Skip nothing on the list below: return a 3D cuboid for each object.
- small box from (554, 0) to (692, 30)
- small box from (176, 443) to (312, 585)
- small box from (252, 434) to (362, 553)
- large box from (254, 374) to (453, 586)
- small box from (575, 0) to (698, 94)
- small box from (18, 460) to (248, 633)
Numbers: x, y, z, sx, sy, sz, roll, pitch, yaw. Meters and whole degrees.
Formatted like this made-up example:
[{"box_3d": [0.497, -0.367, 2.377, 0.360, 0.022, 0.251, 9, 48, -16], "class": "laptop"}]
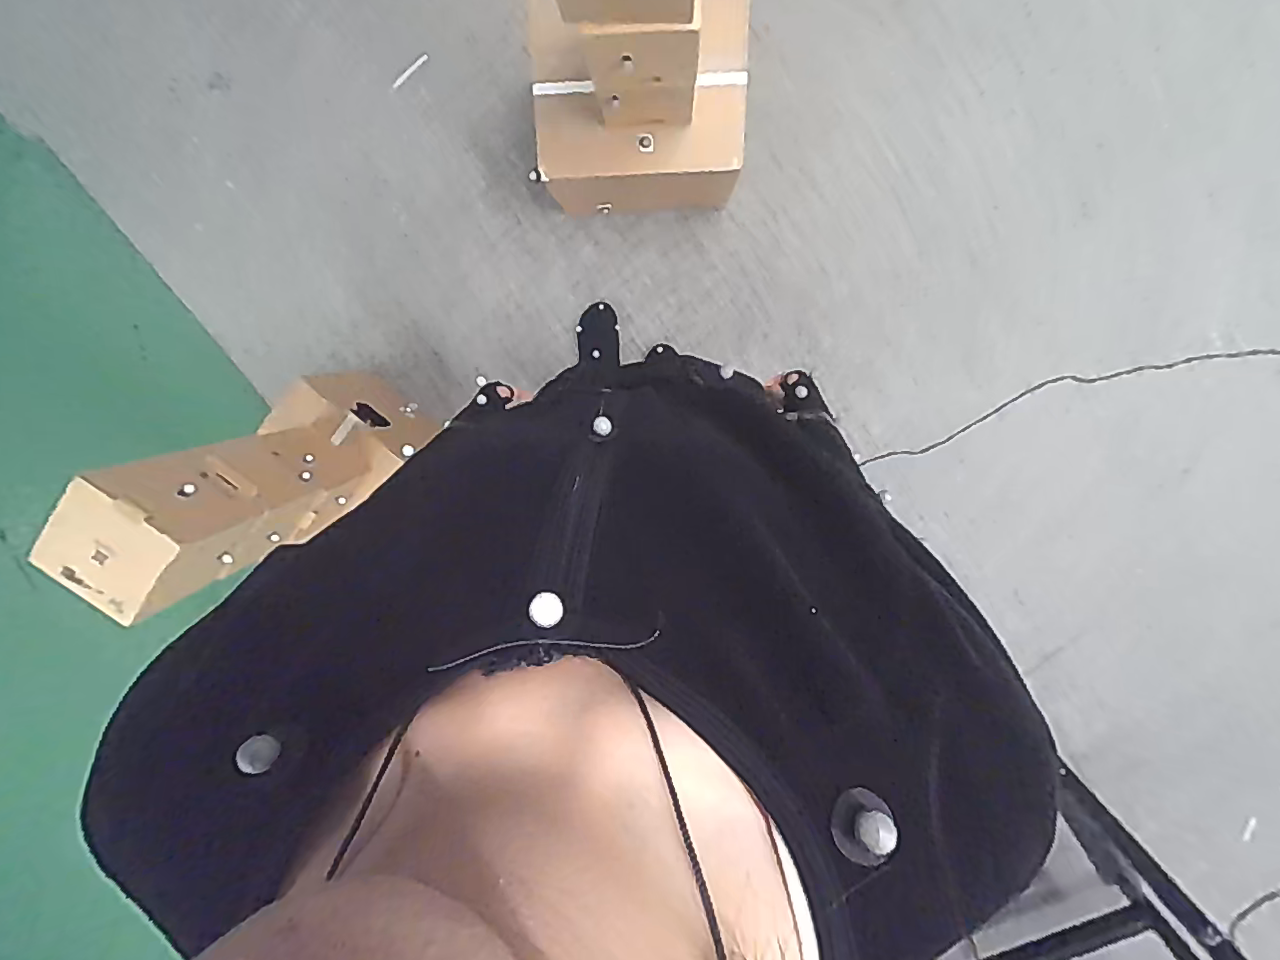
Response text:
[{"box_3d": [-0.020, -0.656, 0.617, 0.179, 0.176, 0.168, 2, 102, 3], "class": "small box"}, {"box_3d": [-0.750, 0.052, 0.997, 0.168, 0.176, 0.179, 40, 102, -7], "class": "small box"}, {"box_3d": [-0.742, 0.018, 1.157, 0.179, 0.176, 0.168, 41, 102, -7], "class": "small box"}, {"box_3d": [-0.766, -0.017, 1.401, 0.320, 0.320, 0.408, 41, 104, -5], "class": "large box"}, {"box_3d": [0.000, -0.686, 0.778, 0.168, 0.176, 0.179, 0, 102, 3], "class": "small box"}, {"box_3d": [-0.762, 0.091, 0.837, 0.168, 0.176, 0.179, 41, 101, -7], "class": "small box"}]
